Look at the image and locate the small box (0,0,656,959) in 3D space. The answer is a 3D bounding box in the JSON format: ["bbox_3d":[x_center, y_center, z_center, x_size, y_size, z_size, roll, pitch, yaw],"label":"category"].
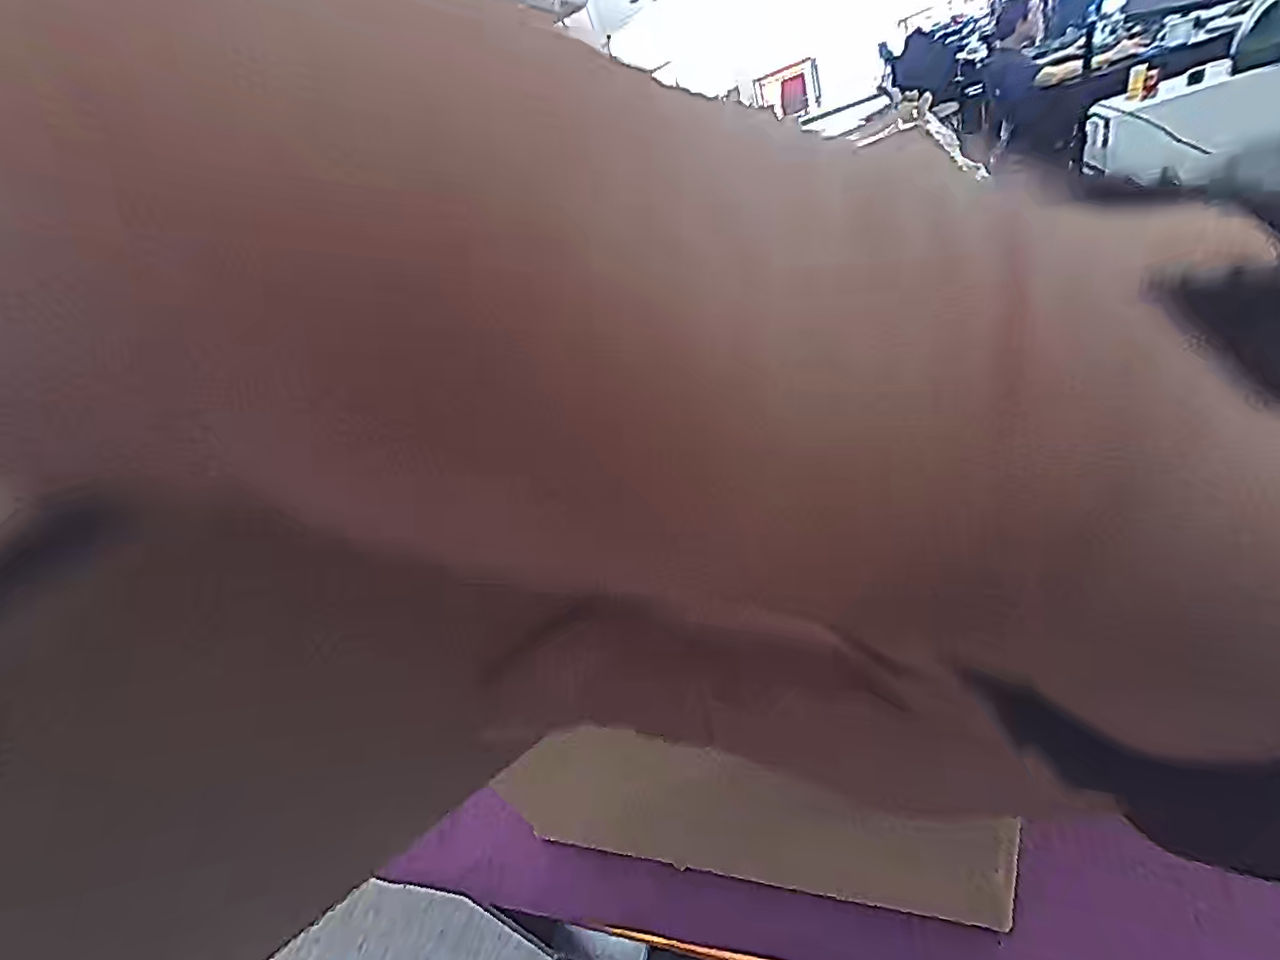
[{"bbox_3d":[-0.110,0.008,0.120,0.179,0.176,0.168,-38,70,-3],"label":"small box"}]
